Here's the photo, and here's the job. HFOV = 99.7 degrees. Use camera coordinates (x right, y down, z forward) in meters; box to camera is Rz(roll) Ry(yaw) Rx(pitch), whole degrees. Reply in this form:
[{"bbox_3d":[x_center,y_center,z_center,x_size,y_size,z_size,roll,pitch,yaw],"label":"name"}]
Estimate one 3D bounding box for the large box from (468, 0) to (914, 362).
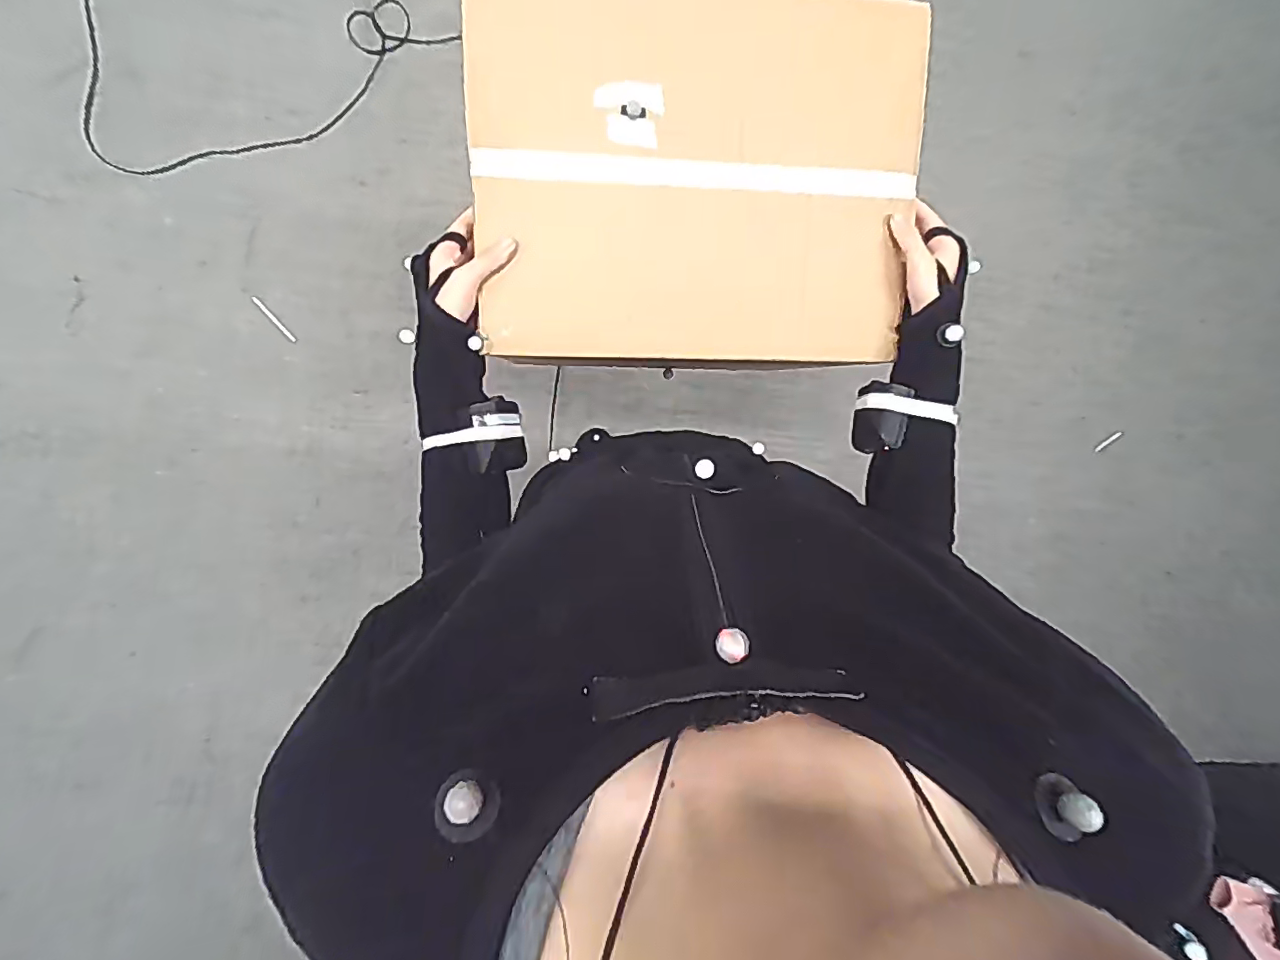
[{"bbox_3d":[0.038,-0.300,0.642,0.408,0.320,0.320,-1,100,-7],"label":"large box"}]
